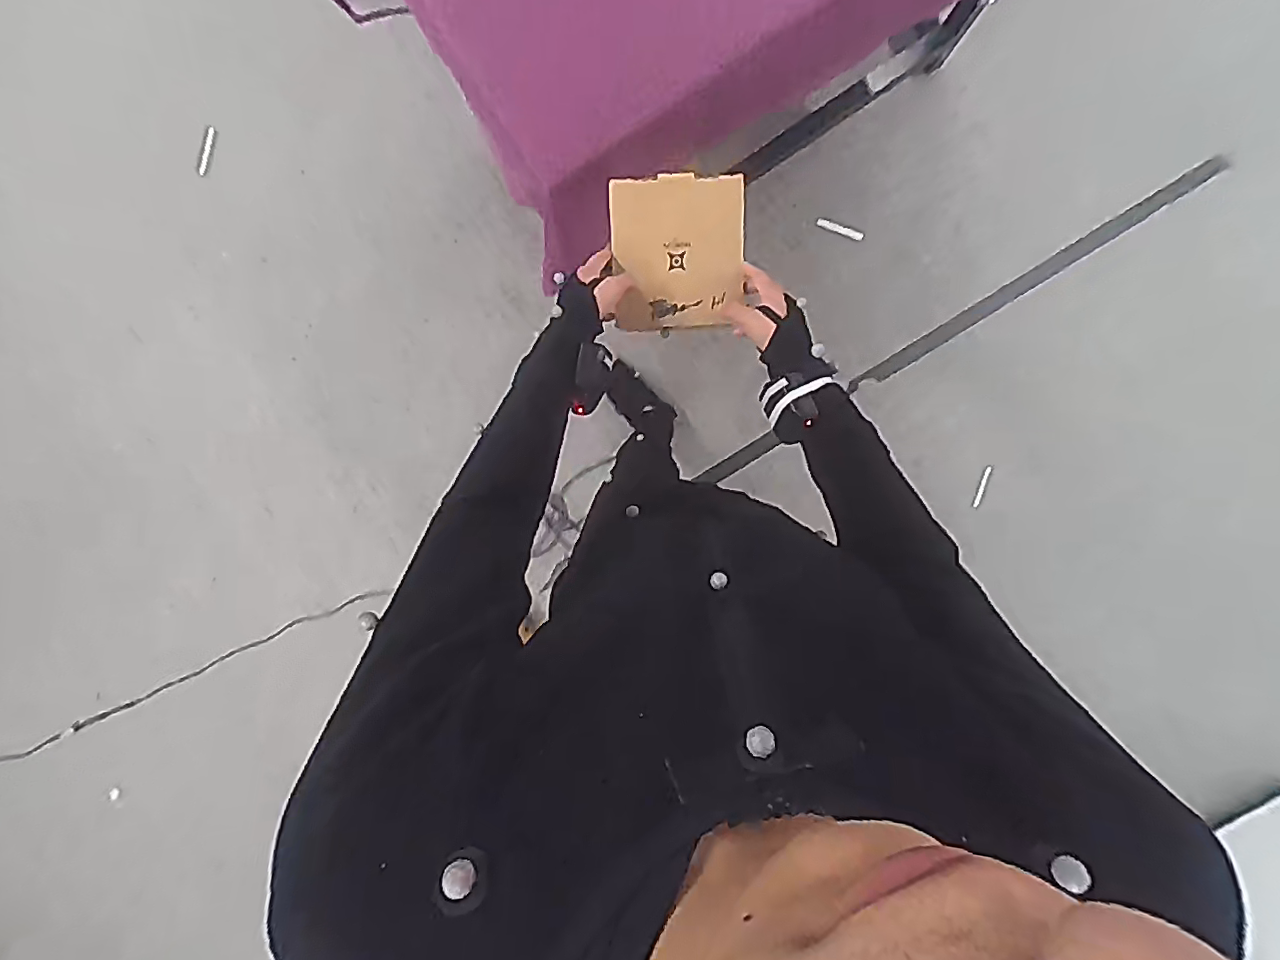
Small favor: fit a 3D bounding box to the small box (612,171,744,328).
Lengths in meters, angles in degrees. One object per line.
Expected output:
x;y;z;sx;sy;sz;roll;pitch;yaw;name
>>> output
0.047;-0.307;0.751;0.168;0.176;0.179;-1;104;1;small box
